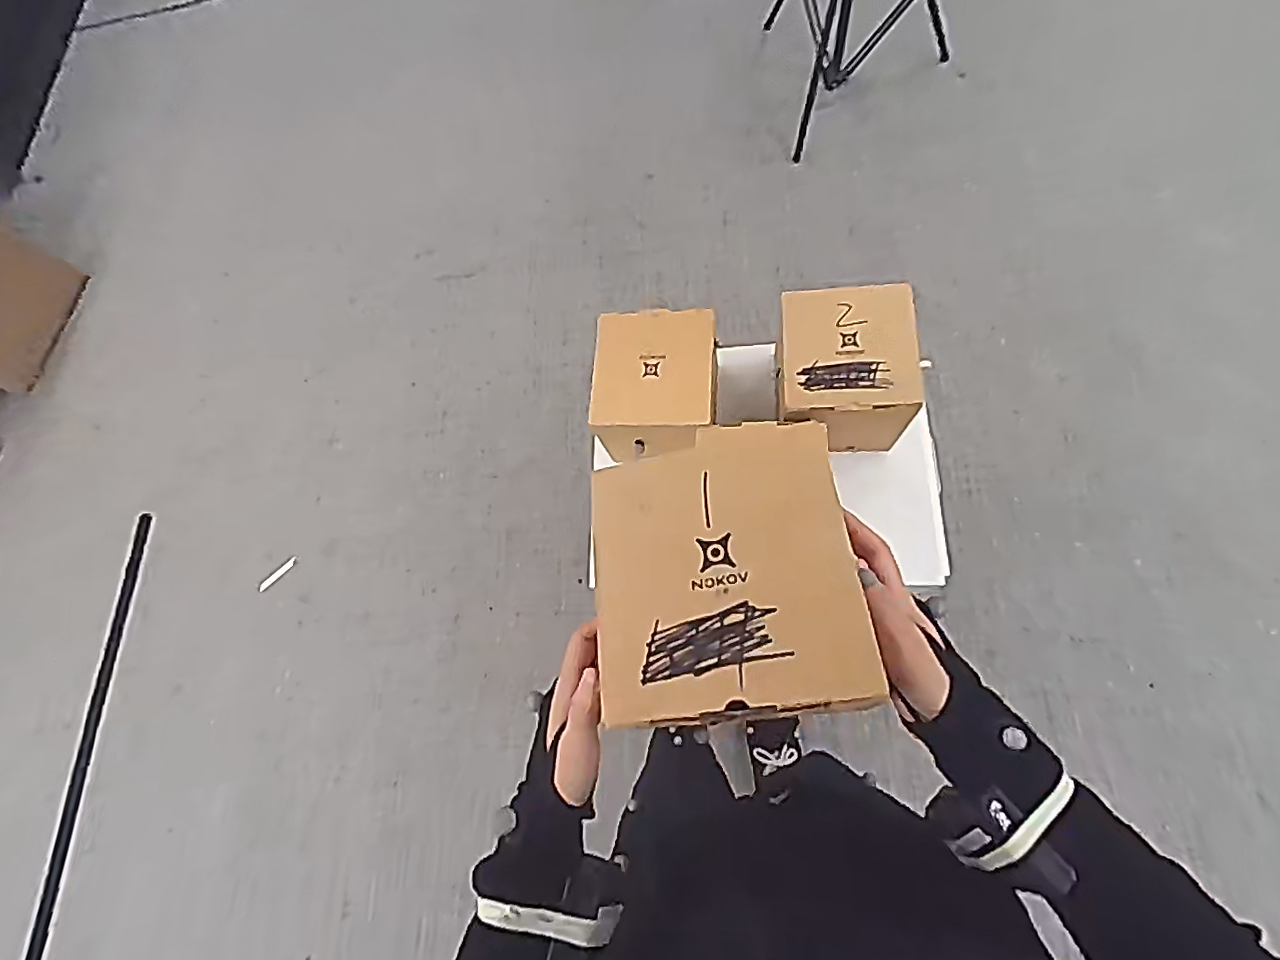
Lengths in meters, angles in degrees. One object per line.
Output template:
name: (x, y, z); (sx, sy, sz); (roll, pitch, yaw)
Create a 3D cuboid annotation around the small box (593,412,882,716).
small box: (0.073, 0.078, 0.408); (0.168, 0.176, 0.179); (-11, 63, 14)

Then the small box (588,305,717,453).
small box: (0.029, -0.135, 0.807); (0.168, 0.176, 0.179); (1, 74, 10)
